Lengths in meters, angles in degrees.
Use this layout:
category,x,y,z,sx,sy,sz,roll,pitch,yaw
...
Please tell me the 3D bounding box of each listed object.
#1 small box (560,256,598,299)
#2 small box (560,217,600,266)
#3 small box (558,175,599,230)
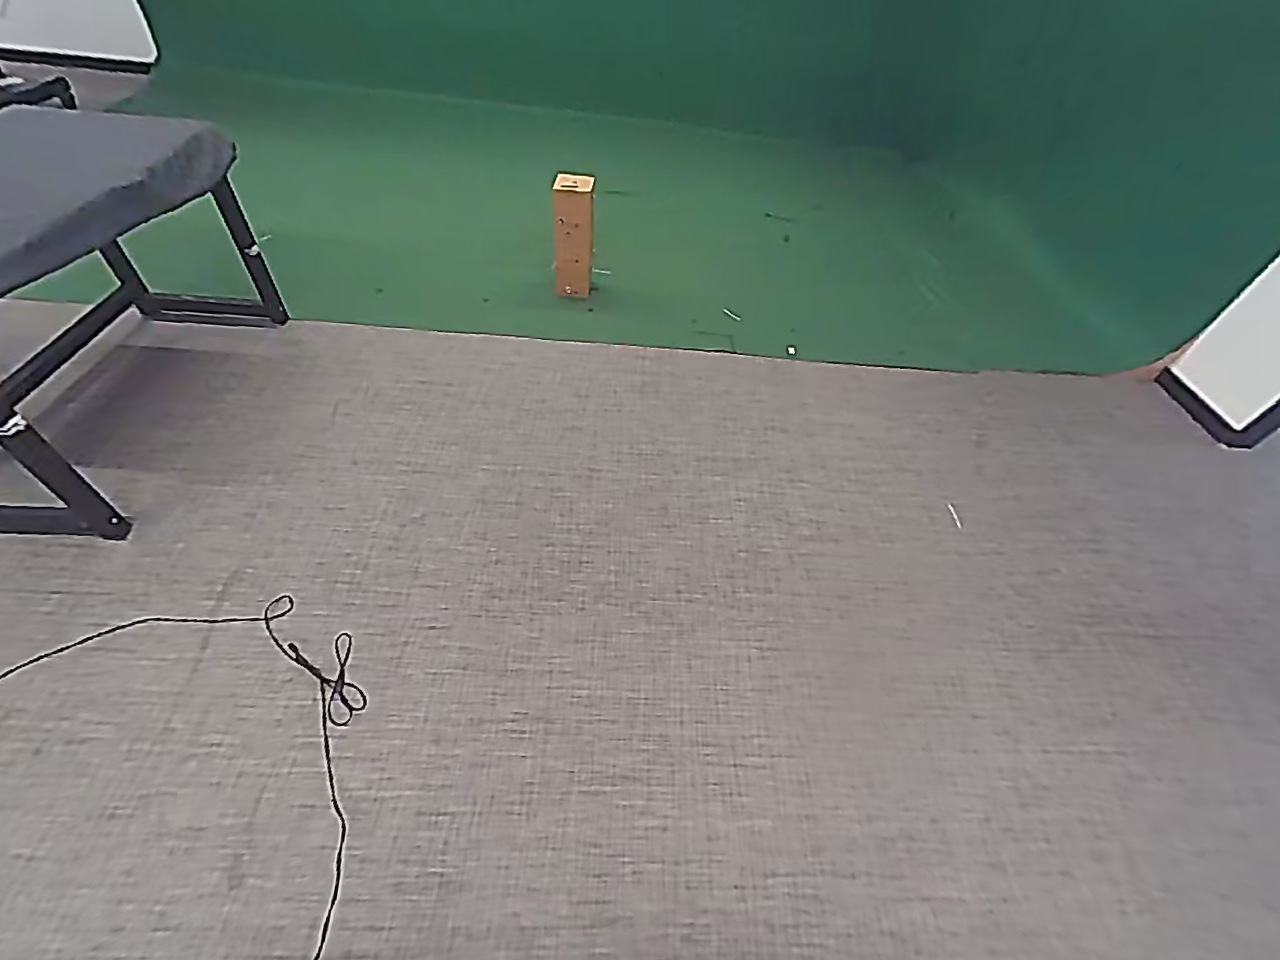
category,x,y,z,sx,sy,sz,roll,pitch,yaw
small box,-0.301,-1.025,2.676,0.168,0.176,0.179,4,50,-2
small box,-0.284,-1.136,2.557,0.168,0.176,0.179,5,47,-1
small box,-0.274,-1.250,2.438,0.168,0.176,0.179,5,47,-2
